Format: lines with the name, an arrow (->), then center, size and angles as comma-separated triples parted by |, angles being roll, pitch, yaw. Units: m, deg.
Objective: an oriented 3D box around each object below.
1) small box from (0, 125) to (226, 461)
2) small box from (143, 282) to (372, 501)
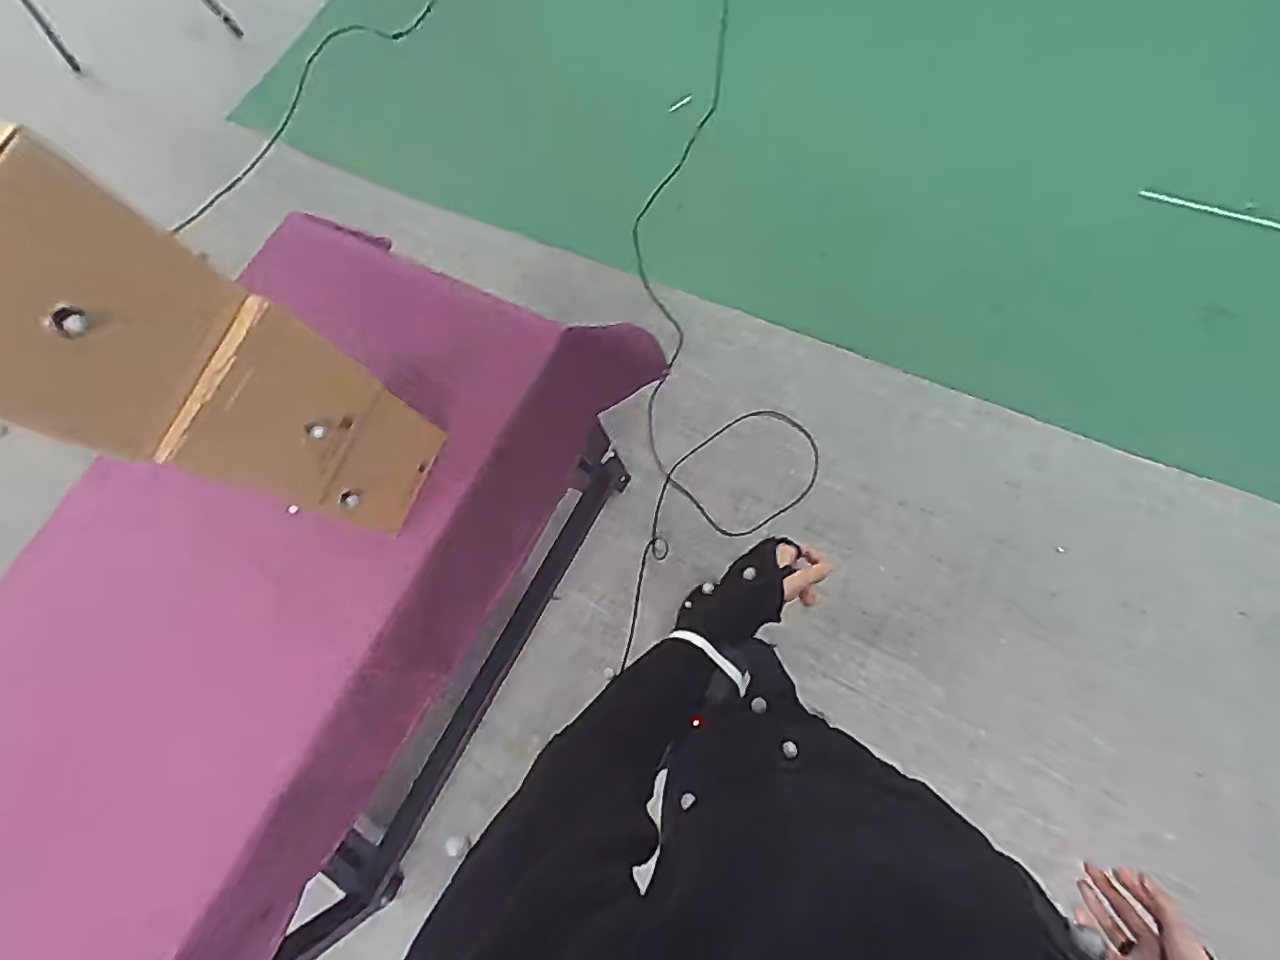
small box -> -0.471, -0.137, 0.409 | 0.168, 0.176, 0.179 | 16, 77, 15
small box -> -0.430, -0.092, 0.562 | 0.179, 0.176, 0.168 | 19, 78, 15
